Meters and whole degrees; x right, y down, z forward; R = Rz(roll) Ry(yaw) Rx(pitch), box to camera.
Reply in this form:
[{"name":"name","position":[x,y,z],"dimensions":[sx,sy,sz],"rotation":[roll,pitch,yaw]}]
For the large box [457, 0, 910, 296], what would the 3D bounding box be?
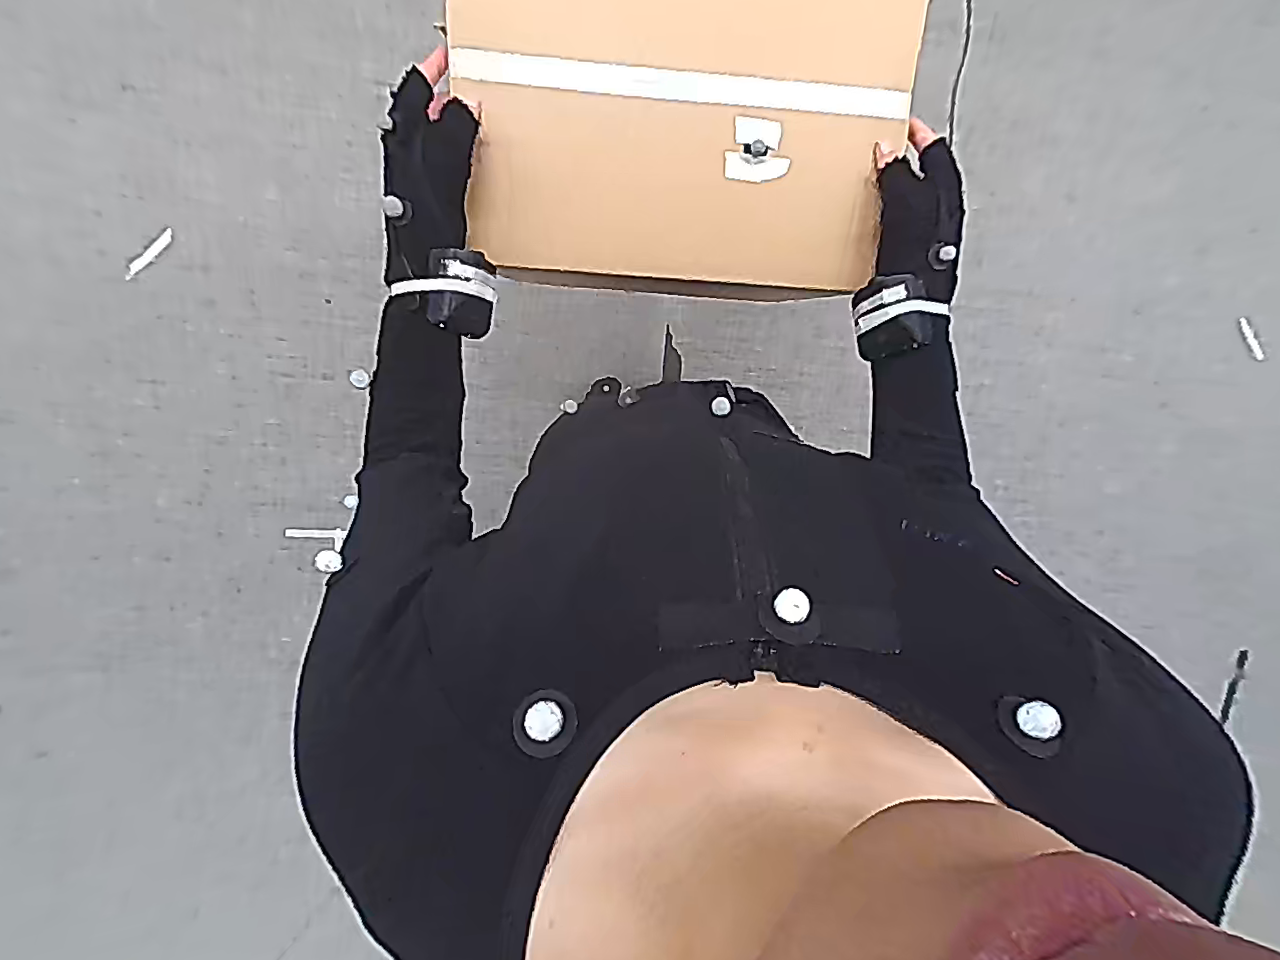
[{"name":"large box","position":[0.027,-0.391,0.630],"dimensions":[0.408,0.320,0.320],"rotation":[2,107,-5]}]
